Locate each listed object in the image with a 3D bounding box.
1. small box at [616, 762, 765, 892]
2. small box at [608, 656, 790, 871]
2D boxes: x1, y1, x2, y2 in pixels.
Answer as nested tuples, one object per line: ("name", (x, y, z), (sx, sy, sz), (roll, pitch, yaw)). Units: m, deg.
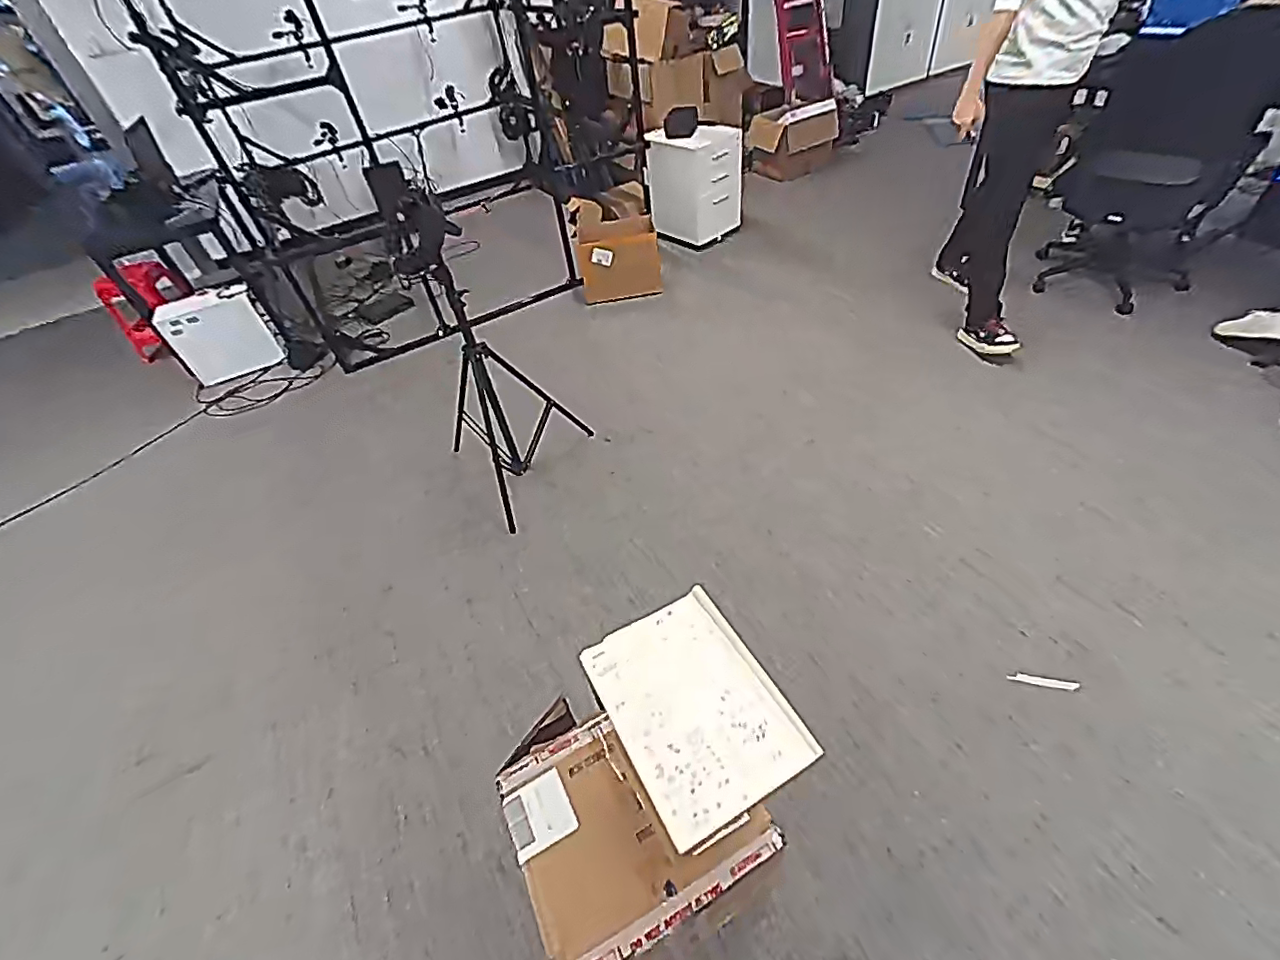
("small box", (0.081, 0.495, 0.841), (0.179, 0.176, 0.168), (-27, 49, -19))
("small box", (0.072, 0.379, 0.725), (0.168, 0.176, 0.179), (-24, 49, -17))
